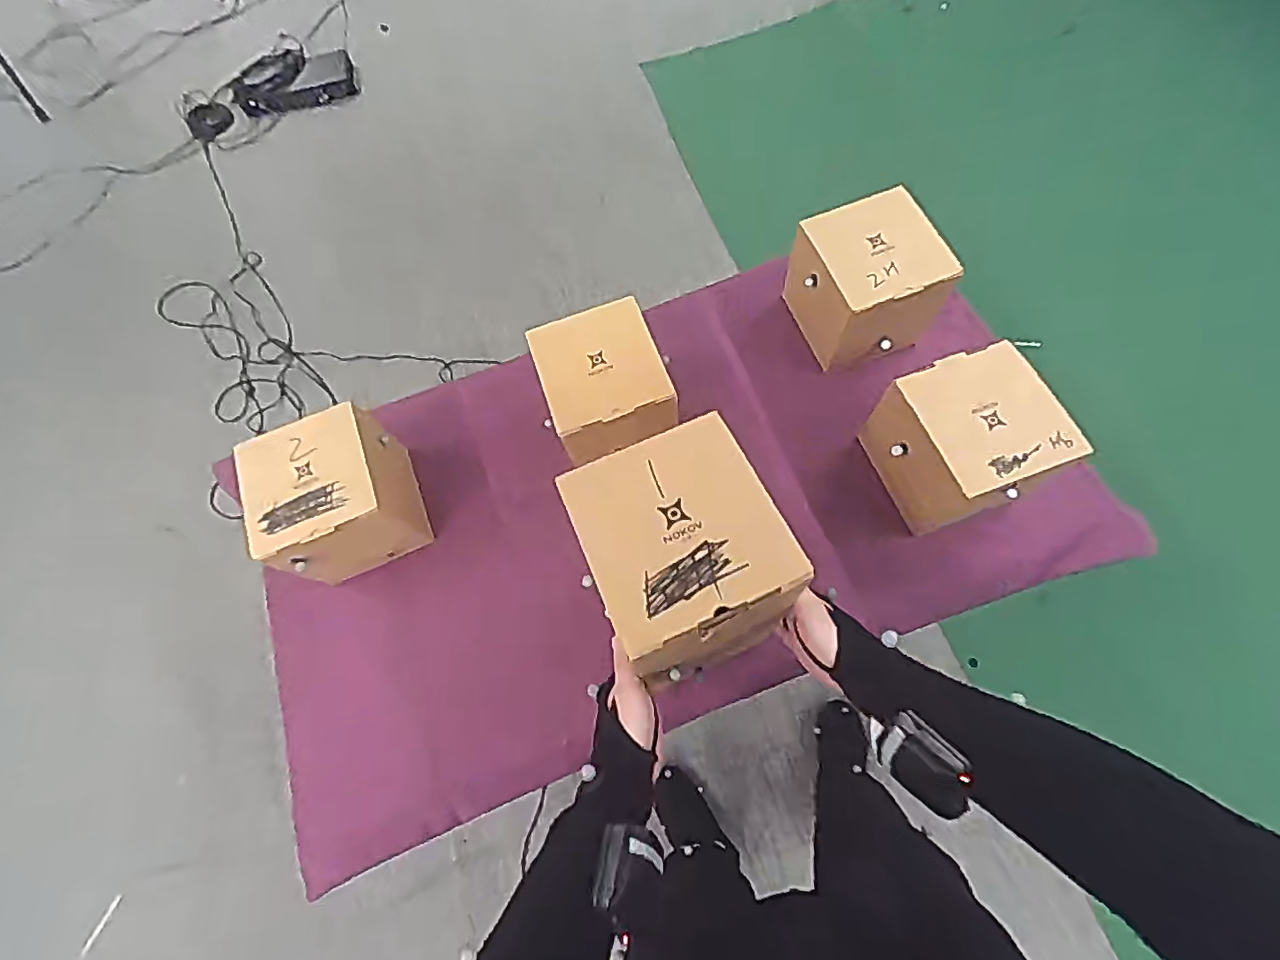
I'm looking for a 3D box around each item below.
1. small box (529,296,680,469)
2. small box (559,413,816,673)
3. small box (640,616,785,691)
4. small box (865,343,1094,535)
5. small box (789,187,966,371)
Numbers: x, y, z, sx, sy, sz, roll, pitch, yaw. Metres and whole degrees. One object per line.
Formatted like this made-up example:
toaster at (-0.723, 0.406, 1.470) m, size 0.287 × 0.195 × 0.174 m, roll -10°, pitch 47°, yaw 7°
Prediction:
small box at (-0.049, -0.133, 0.803) m, size 0.168 × 0.176 × 0.179 m, roll -20°, pitch 71°, yaw -4°
small box at (0.041, 0.073, 0.523) m, size 0.168 × 0.176 × 0.179 m, roll -23°, pitch 64°, yaw -6°
small box at (0.053, 0.142, 0.671) m, size 0.168 × 0.176 × 0.179 m, roll -22°, pitch 65°, yaw -6°
small box at (0.435, -0.048, 0.733) m, size 0.168 × 0.176 × 0.179 m, roll -19°, pitch 67°, yaw -2°
small box at (0.346, -0.300, 0.832) m, size 0.168 × 0.176 × 0.179 m, roll -20°, pitch 70°, yaw -1°
